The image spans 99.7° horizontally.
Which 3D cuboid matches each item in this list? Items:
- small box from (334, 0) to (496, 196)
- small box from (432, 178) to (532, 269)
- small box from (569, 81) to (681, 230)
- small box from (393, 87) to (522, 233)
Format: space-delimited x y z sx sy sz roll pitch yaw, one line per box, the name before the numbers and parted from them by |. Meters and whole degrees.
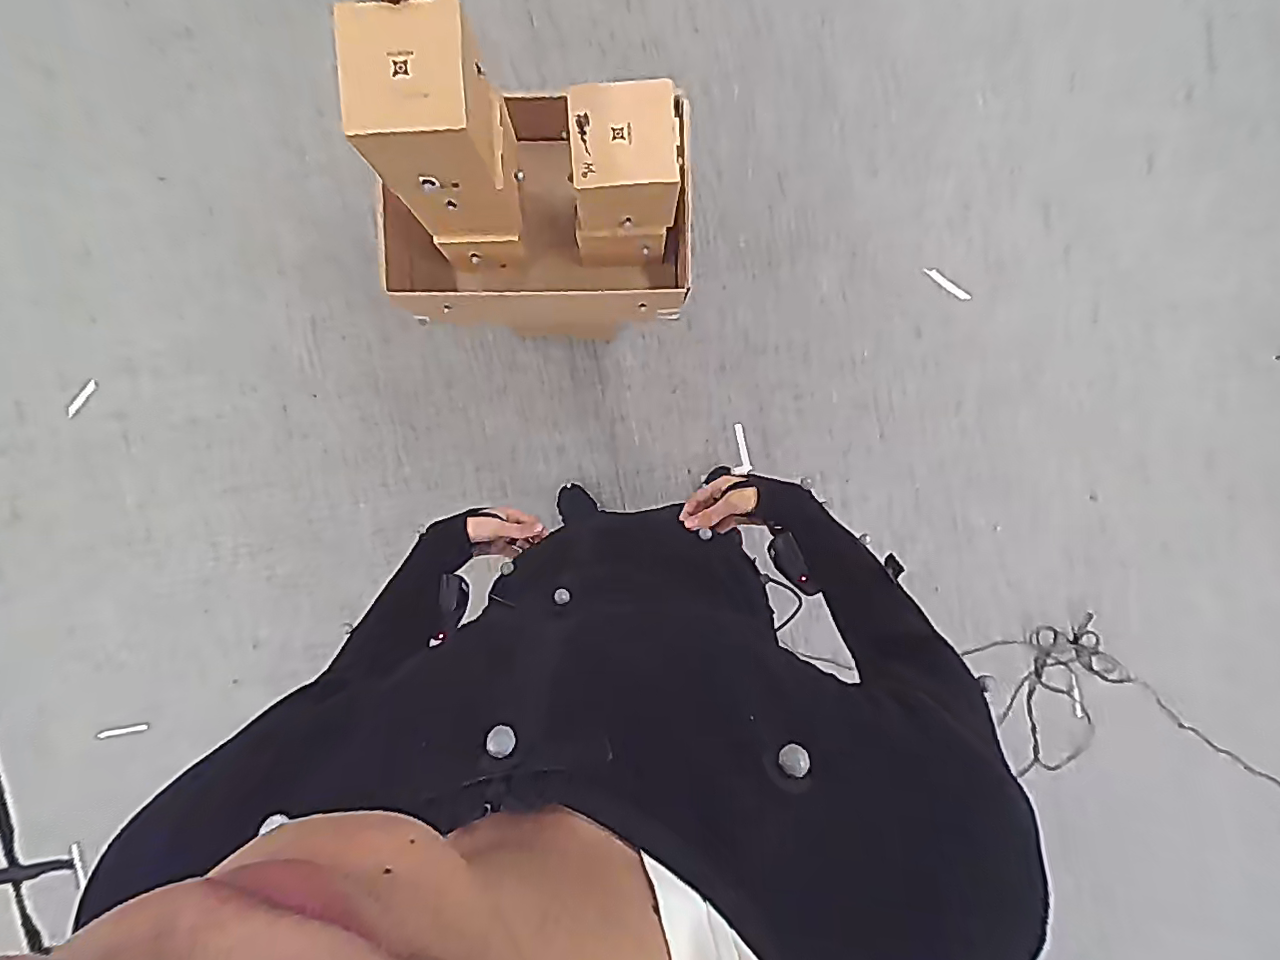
small box | -0.312 -0.541 0.780 0.168 0.176 0.179 -3 91 0
small box | -0.318 -0.543 1.108 0.168 0.176 0.179 -3 91 -2
small box | -0.027 -0.555 0.944 0.179 0.176 0.168 -3 92 -1
small box | -0.311 -0.547 0.944 0.179 0.176 0.168 -1 92 -2
